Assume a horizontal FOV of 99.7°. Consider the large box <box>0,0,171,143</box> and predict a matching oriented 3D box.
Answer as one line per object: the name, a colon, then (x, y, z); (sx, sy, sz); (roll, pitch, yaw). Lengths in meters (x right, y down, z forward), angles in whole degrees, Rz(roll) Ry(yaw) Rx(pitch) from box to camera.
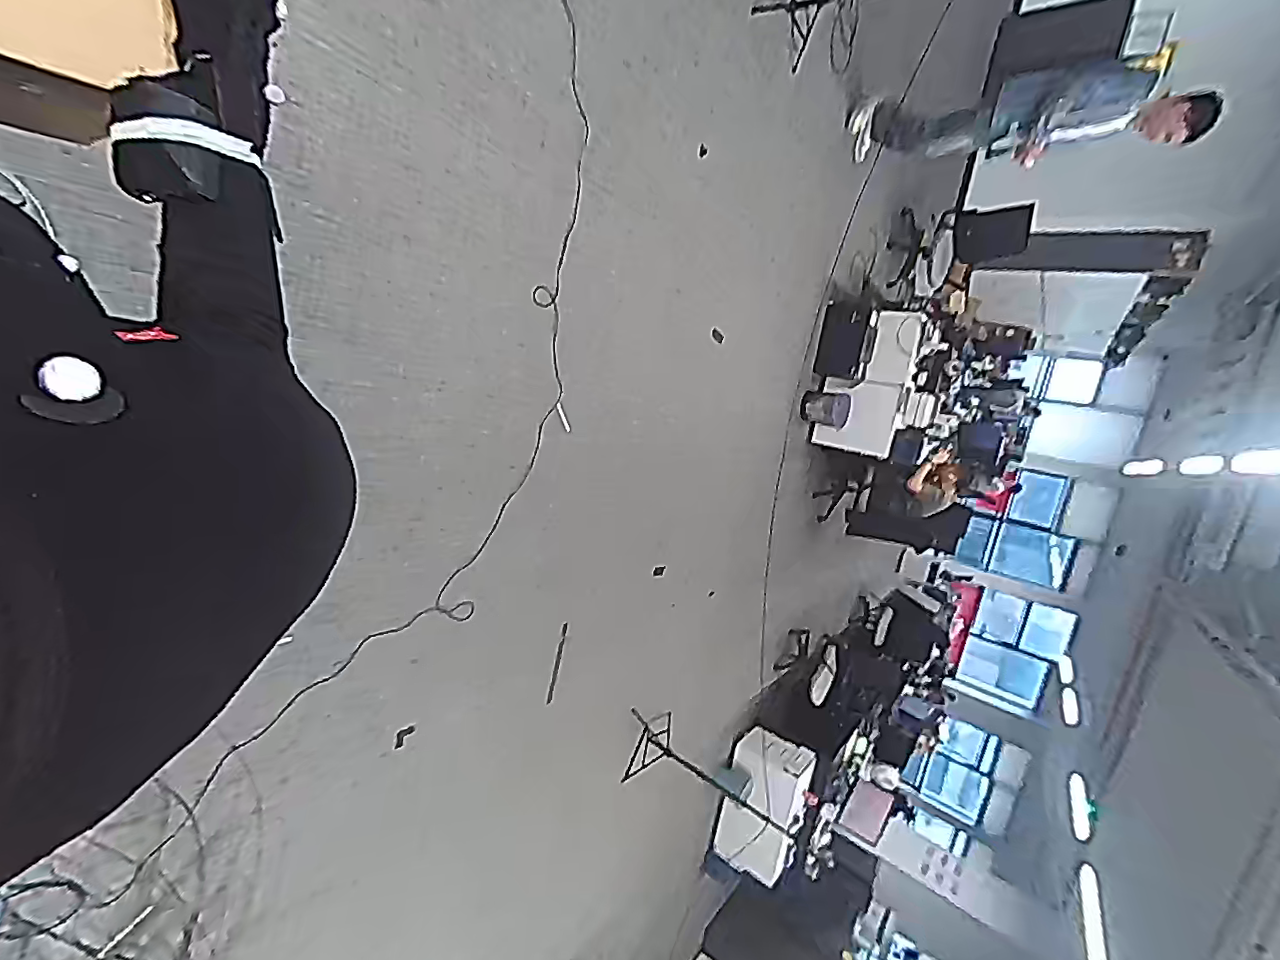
large box: (-0.551, -0.414, 0.270); (0.408, 0.320, 0.320); (-13, 117, -53)
